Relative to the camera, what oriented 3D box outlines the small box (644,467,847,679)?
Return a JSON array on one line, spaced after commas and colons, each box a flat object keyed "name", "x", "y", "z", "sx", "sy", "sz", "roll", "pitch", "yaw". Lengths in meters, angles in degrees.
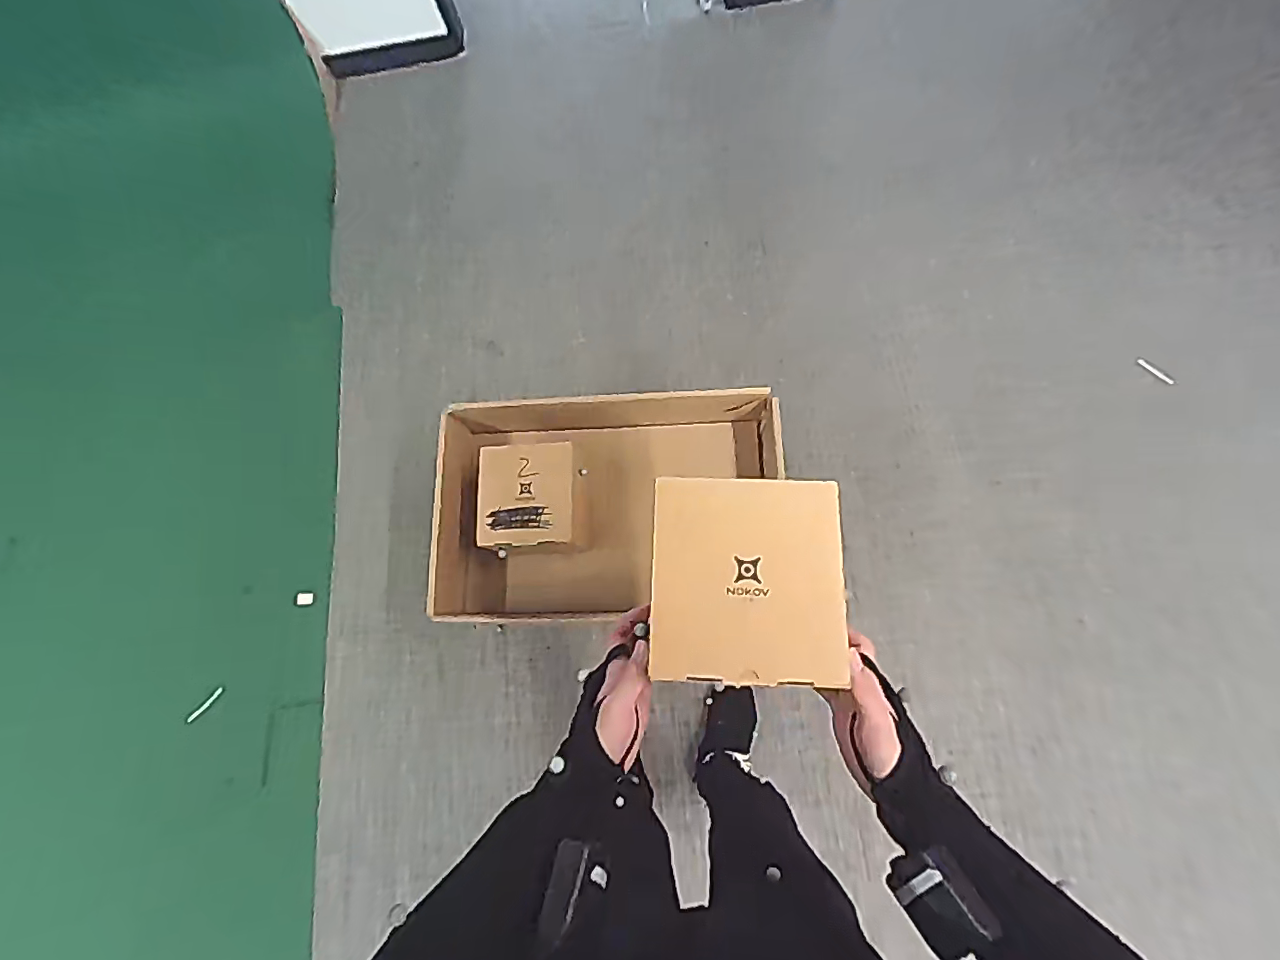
[{"name": "small box", "x": 0.089, "y": 0.097, "z": 0.533, "sx": 0.168, "sy": 0.176, "sz": 0.179, "roll": 1, "pitch": 73, "yaw": 2}]
